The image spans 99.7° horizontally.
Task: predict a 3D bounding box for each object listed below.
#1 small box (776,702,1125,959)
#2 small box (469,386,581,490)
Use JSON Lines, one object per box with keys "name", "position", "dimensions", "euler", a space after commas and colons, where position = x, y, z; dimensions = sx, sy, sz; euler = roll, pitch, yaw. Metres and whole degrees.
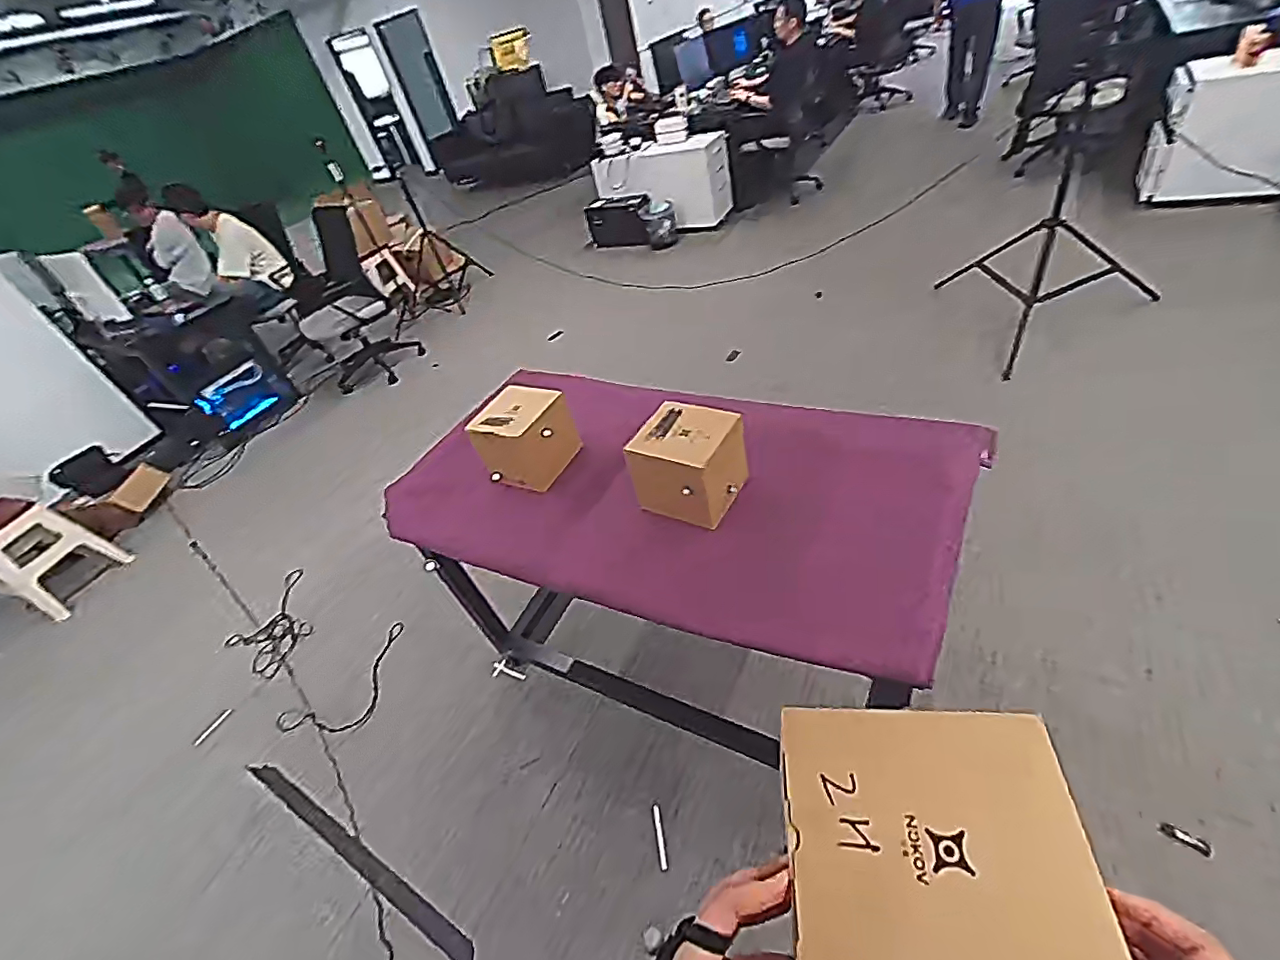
{"name": "small box", "position": [0.193, 0.276, 0.393], "dimensions": [0.179, 0.176, 0.168], "euler": [-4, 48, 12]}
{"name": "small box", "position": [-0.265, -0.100, 1.291], "dimensions": [0.168, 0.176, 0.179], "euler": [12, 49, 29]}
